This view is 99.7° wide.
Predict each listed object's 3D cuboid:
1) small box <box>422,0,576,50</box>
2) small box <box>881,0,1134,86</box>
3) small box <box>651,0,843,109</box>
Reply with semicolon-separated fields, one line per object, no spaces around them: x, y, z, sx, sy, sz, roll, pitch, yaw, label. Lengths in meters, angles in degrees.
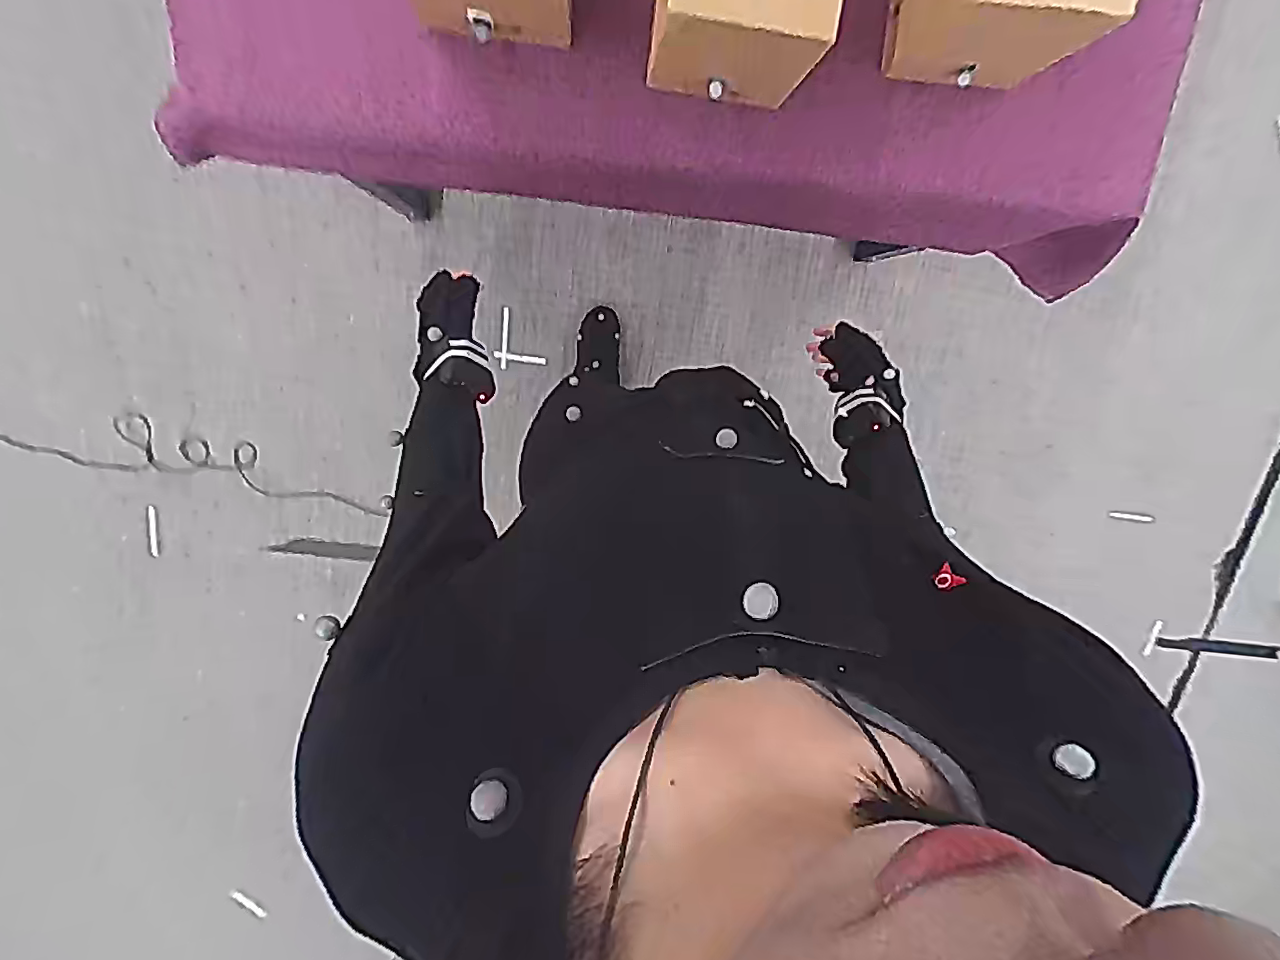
-0.145;-0.568;0.525;0.168;0.176;0.179;2;105;-5;small box
0.394;-0.556;0.581;0.179;0.176;0.168;1;105;-6;small box
0.107;-0.527;0.559;0.168;0.176;0.179;5;105;-7;small box
